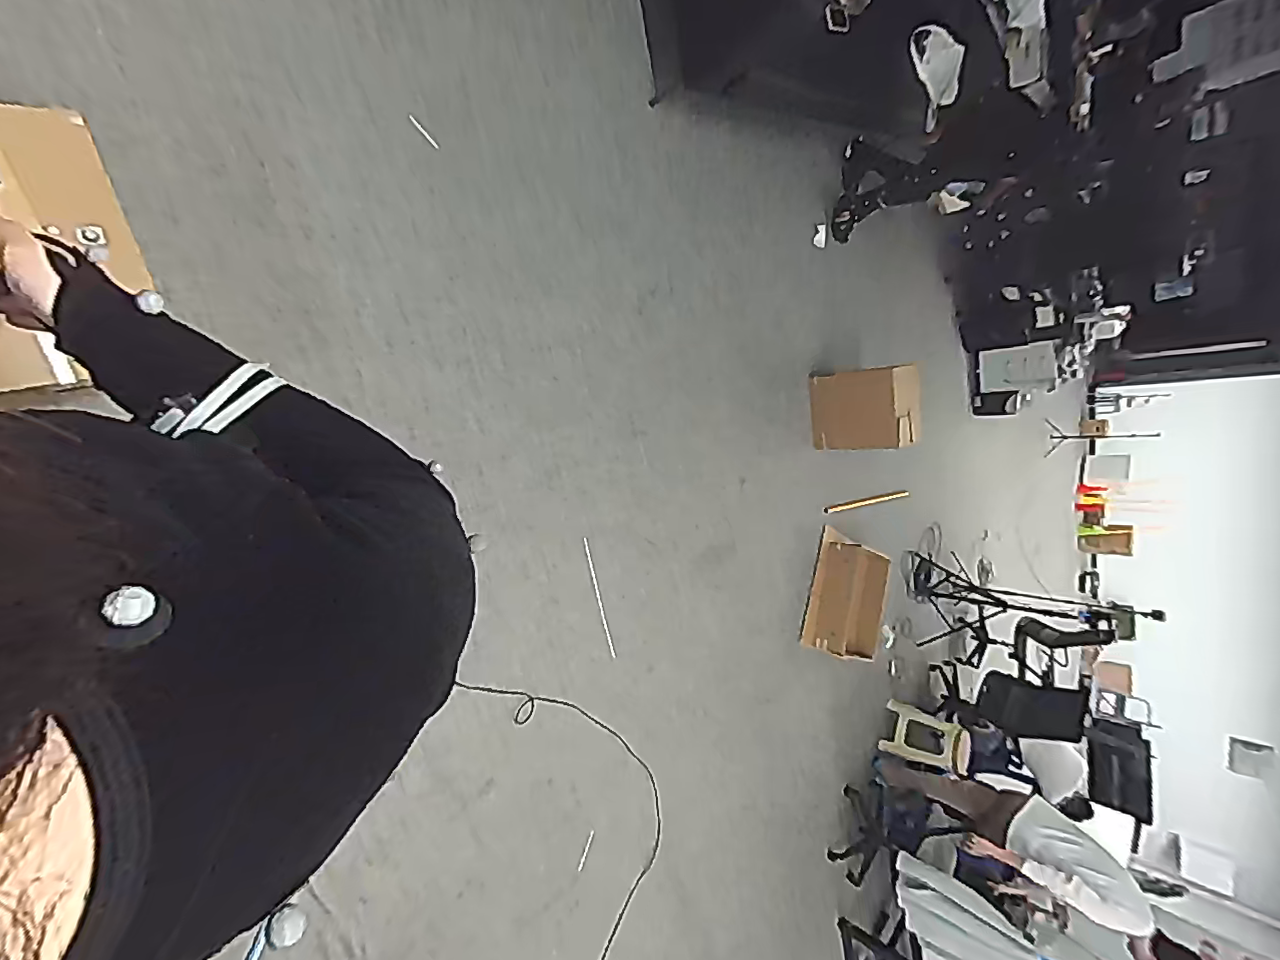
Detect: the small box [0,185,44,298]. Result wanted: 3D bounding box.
[{"bbox_3d":[-0.516,-0.197,0.323,0.168,0.176,0.179,-26,115,-37],"label":"small box"}]
